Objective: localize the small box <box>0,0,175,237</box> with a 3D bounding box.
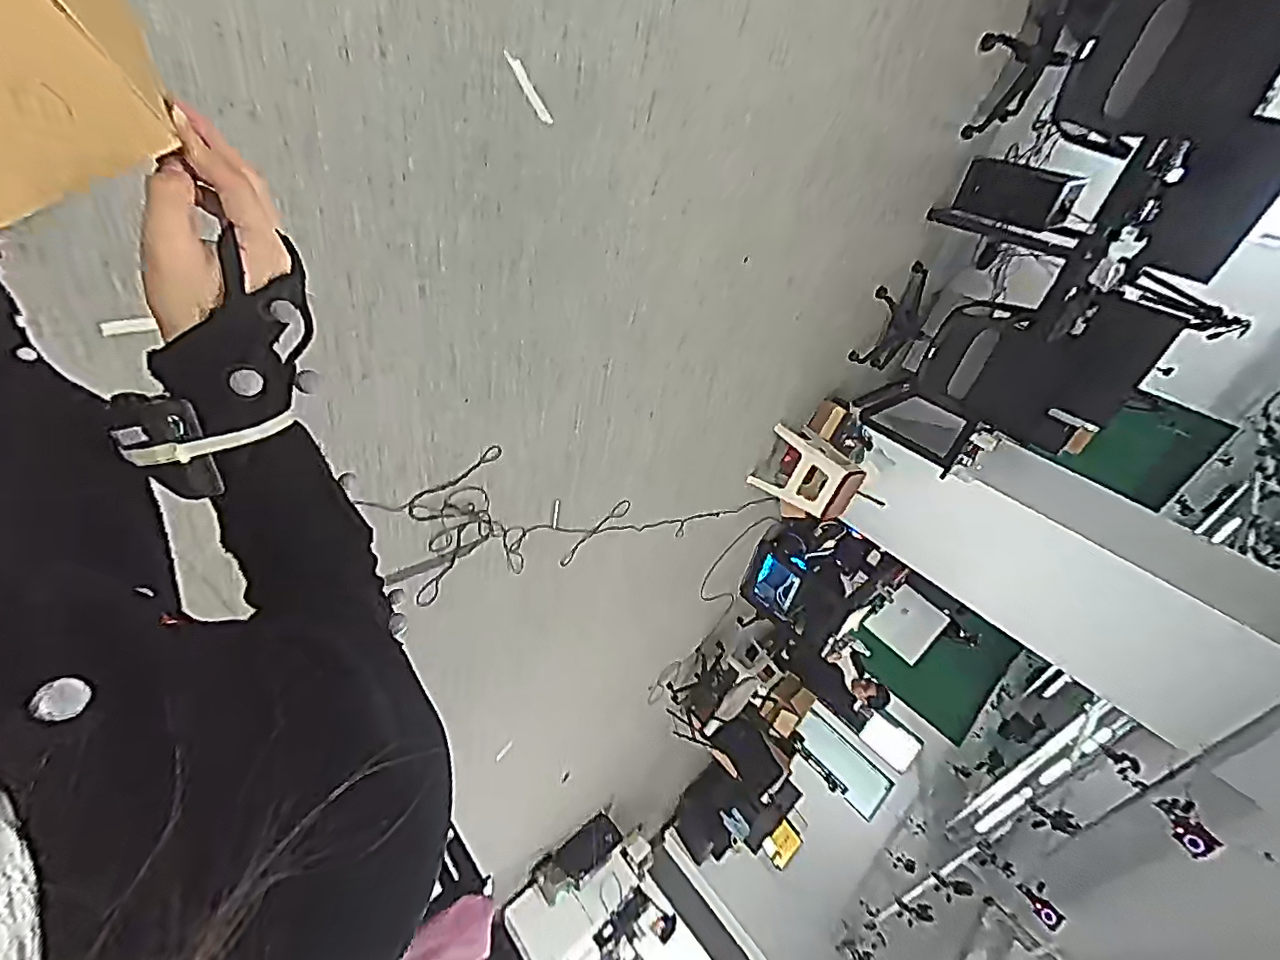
[{"bbox_3d":[-0.348,-0.217,0.217,0.168,0.176,0.179,-32,153,-9],"label":"small box"}]
